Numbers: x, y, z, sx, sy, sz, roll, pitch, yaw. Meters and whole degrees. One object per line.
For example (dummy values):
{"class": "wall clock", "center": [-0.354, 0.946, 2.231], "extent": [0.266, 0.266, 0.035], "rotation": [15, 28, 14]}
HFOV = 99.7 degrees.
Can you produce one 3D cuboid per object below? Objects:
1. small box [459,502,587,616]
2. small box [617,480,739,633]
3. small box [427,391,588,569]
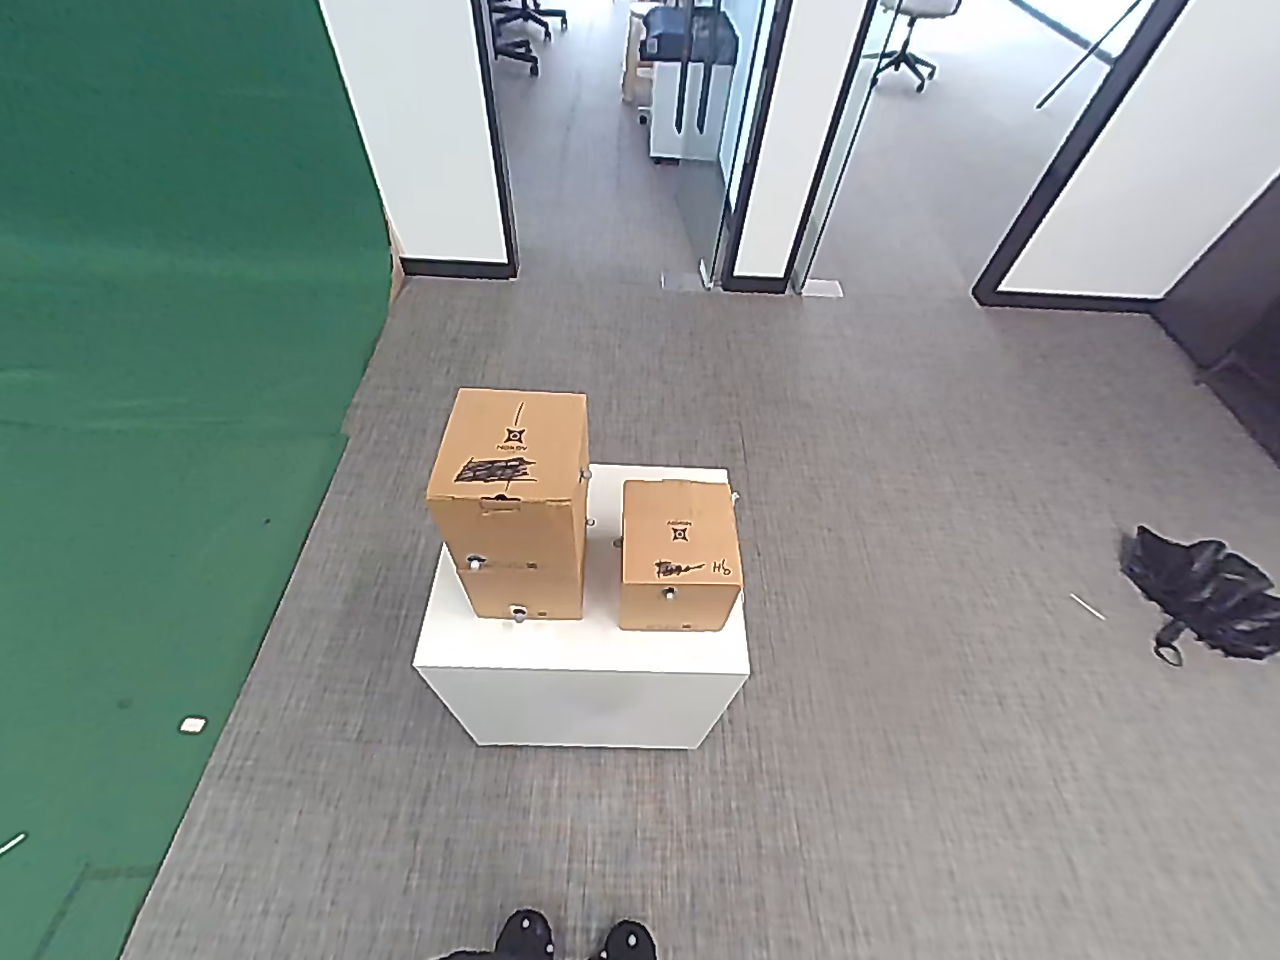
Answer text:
{"class": "small box", "center": [-0.168, 0.095, 0.836], "extent": [0.168, 0.176, 0.179], "rotation": [0, 54, -4]}
{"class": "small box", "center": [0.050, 0.121, 0.849], "extent": [0.168, 0.176, 0.179], "rotation": [2, 52, -3]}
{"class": "small box", "center": [-0.159, 0.004, 0.719], "extent": [0.168, 0.176, 0.179], "rotation": [3, 51, -1]}
